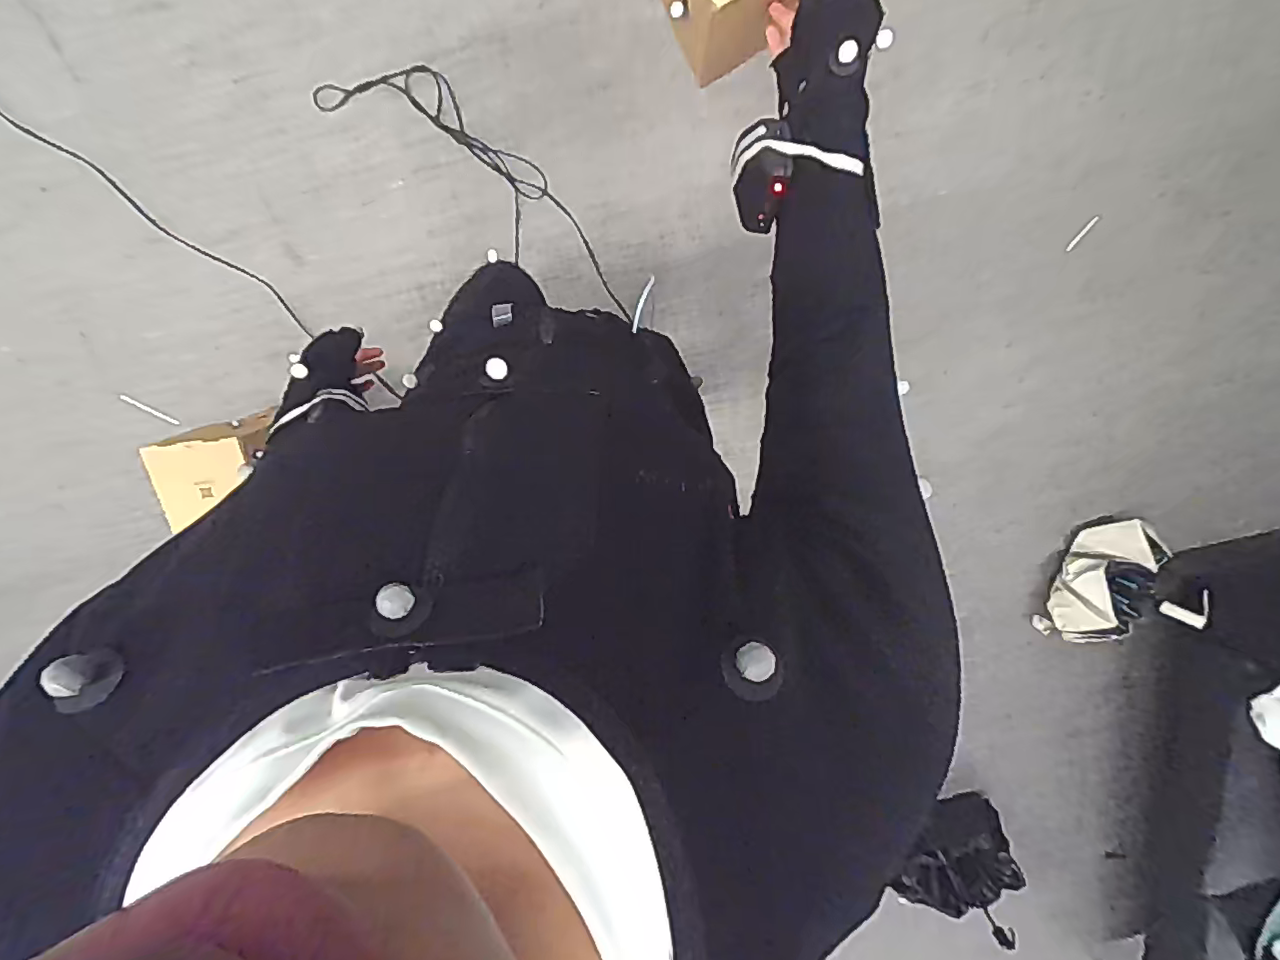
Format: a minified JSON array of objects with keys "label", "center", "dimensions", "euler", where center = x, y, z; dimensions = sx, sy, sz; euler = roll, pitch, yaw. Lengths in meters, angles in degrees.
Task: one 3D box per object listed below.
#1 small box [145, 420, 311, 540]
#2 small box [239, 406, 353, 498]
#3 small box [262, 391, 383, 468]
[{"label":"small box","center":[-0.762,-0.005,1.025],"dimensions":[0.168,0.176,0.179],"euler":[-6,109,-2]},{"label":"small box","center":[-0.765,-0.058,1.179],"dimensions":[0.168,0.176,0.179],"euler":[-11,110,0]},{"label":"small box","center":[-0.773,-0.117,1.335],"dimensions":[0.168,0.176,0.179],"euler":[-13,108,3]}]
